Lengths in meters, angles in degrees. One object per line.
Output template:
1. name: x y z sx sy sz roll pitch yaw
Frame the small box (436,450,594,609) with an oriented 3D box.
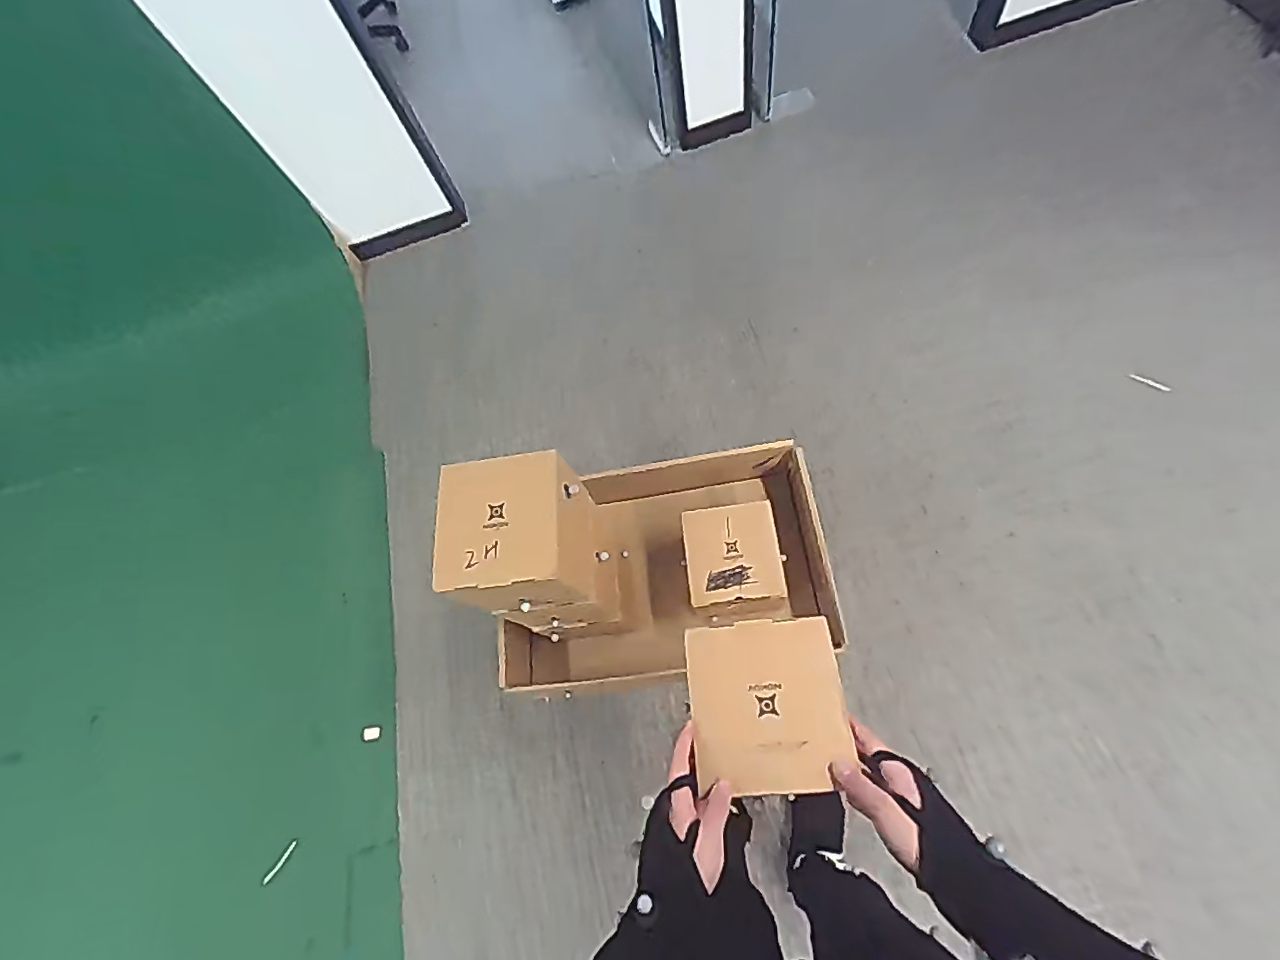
1. small box: -0.165 0.077 0.769 0.168 0.176 0.179 -7 67 8

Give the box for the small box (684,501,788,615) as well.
1. small box: 0.181 0.156 1.027 0.168 0.176 0.179 -8 67 8

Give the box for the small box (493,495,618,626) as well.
1. small box: -0.136 0.142 0.918 0.168 0.176 0.179 -8 67 7

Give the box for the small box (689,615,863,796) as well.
1. small box: 0.149 0.277 0.652 0.168 0.176 0.179 -6 59 6
